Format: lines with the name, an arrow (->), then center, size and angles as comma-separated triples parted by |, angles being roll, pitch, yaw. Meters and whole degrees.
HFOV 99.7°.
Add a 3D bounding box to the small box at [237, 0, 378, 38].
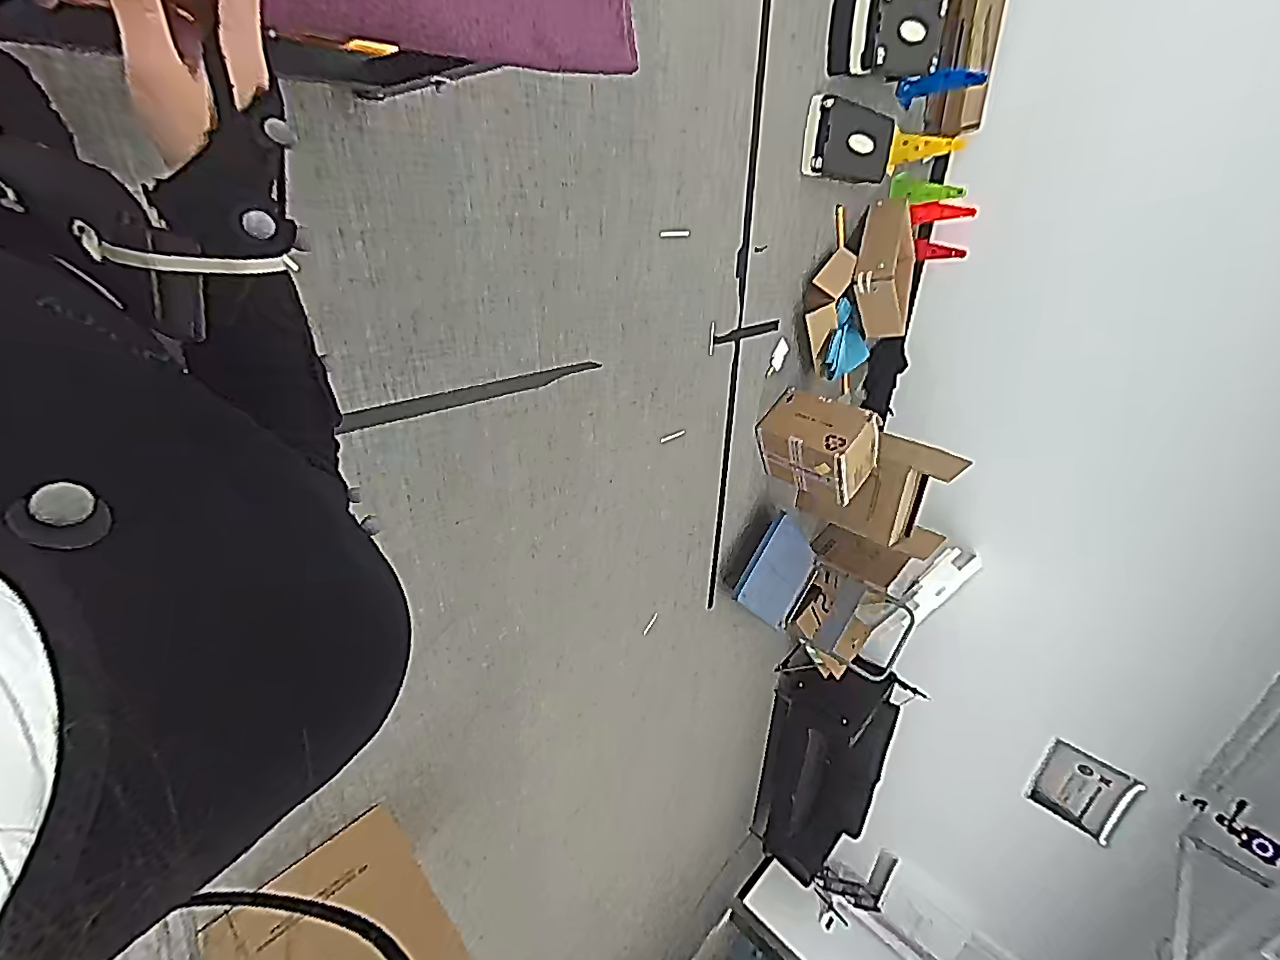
small box -> -0.540, -0.827, 0.849 | 0.168, 0.176, 0.179 | -23, 126, -40
